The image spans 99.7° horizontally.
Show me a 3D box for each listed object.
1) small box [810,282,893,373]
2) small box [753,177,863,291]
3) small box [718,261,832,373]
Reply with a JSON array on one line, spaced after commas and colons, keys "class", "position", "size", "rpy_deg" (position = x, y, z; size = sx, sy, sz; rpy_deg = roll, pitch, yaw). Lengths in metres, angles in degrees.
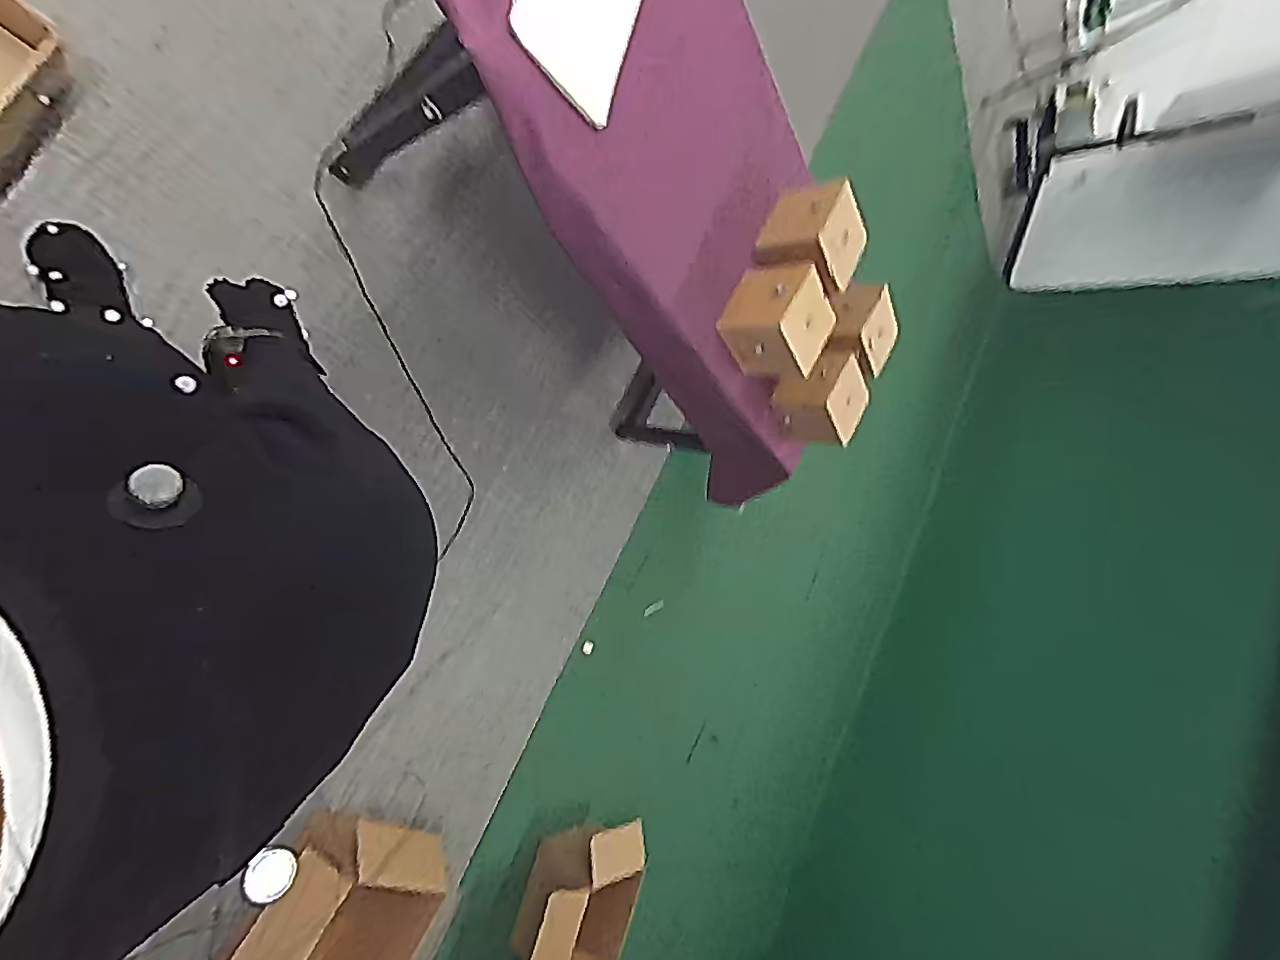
[{"class": "small box", "position": [0.563, -0.415, 1.478], "size": [0.168, 0.176, 0.179], "rpy_deg": [47, 66, -41]}, {"class": "small box", "position": [0.392, -0.564, 1.263], "size": [0.168, 0.176, 0.179], "rpy_deg": [42, 71, -43]}, {"class": "small box", "position": [0.300, -0.364, 1.223], "size": [0.168, 0.176, 0.179], "rpy_deg": [45, 69, -42]}]
